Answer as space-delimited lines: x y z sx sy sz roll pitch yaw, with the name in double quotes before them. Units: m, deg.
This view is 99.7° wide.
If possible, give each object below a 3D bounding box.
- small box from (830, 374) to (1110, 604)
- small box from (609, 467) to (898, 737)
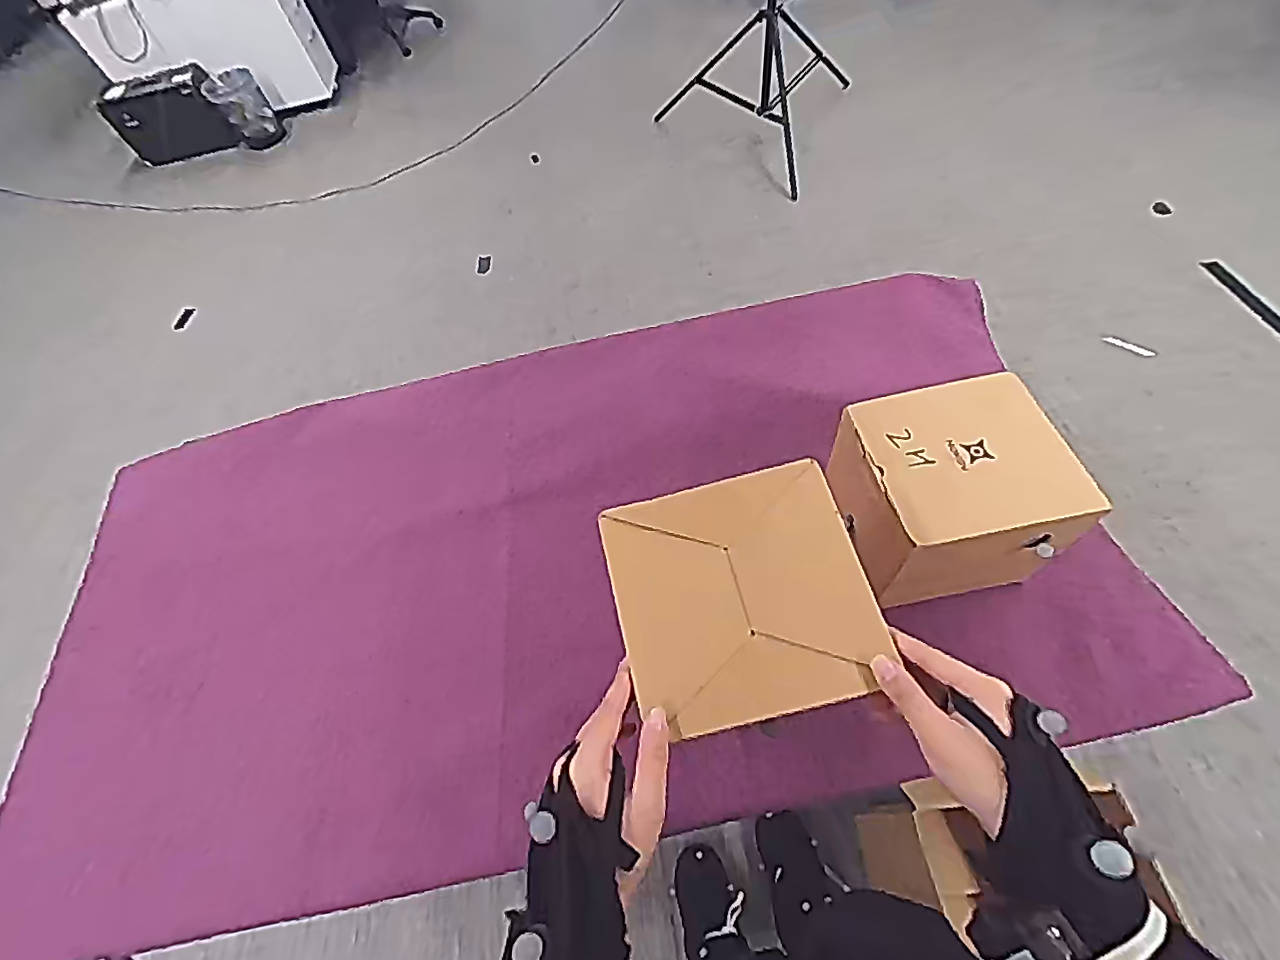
"small box" 0.321 0.017 0.577 0.179 0.176 0.168 -11 56 2
"small box" 0.079 0.107 0.456 0.179 0.176 0.168 -14 65 -1
